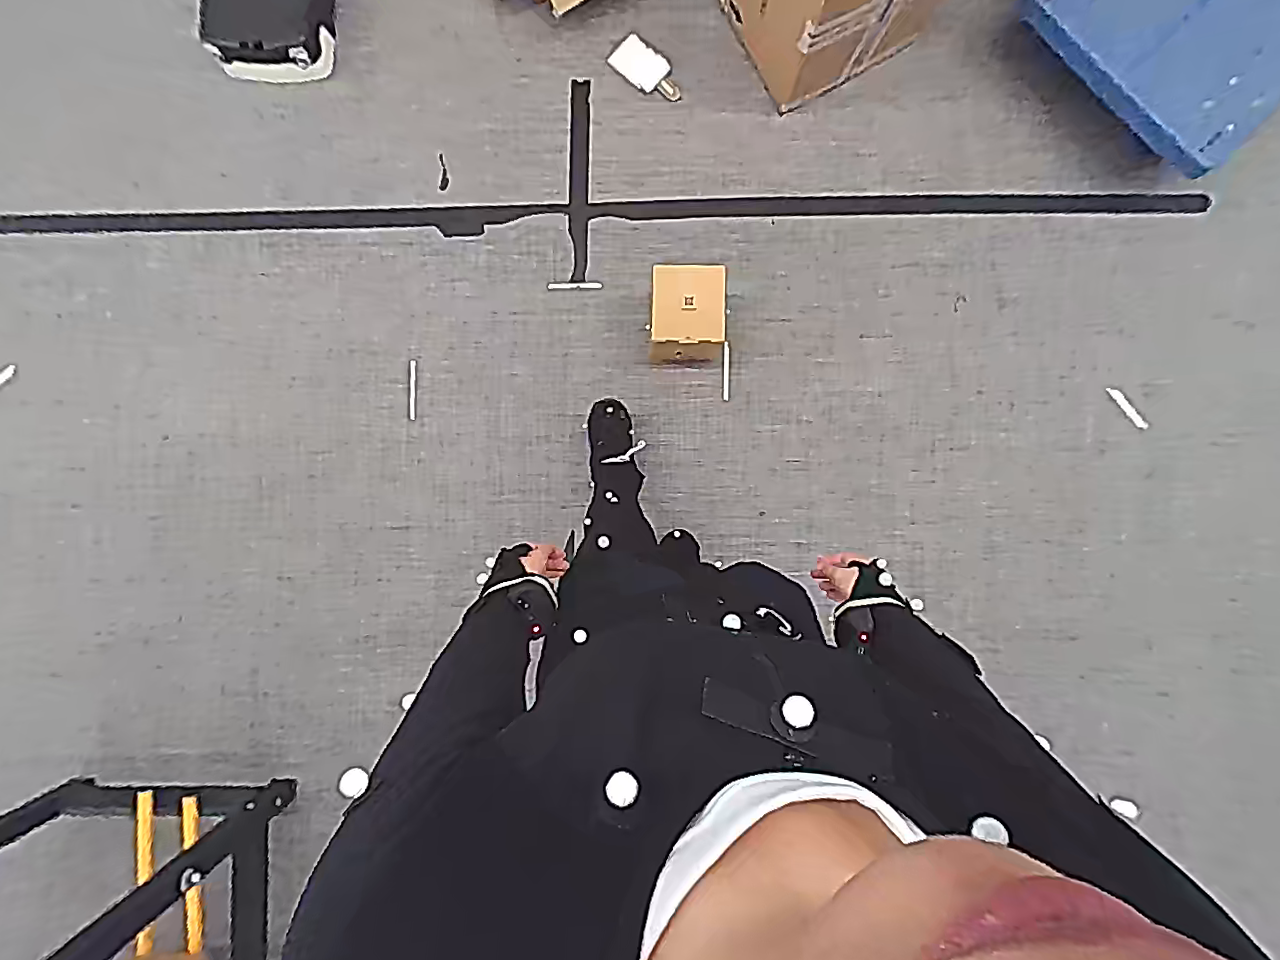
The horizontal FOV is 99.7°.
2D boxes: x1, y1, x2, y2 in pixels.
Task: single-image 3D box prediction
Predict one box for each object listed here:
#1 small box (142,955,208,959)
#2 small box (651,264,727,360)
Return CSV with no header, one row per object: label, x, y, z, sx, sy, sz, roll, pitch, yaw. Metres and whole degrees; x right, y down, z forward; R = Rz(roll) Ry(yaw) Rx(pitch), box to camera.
small box,-1.078,1.177,1.164,0.179,0.176,0.168,-2,90,-3
small box,0.111,-0.395,1.290,0.168,0.176,0.179,0,90,0
